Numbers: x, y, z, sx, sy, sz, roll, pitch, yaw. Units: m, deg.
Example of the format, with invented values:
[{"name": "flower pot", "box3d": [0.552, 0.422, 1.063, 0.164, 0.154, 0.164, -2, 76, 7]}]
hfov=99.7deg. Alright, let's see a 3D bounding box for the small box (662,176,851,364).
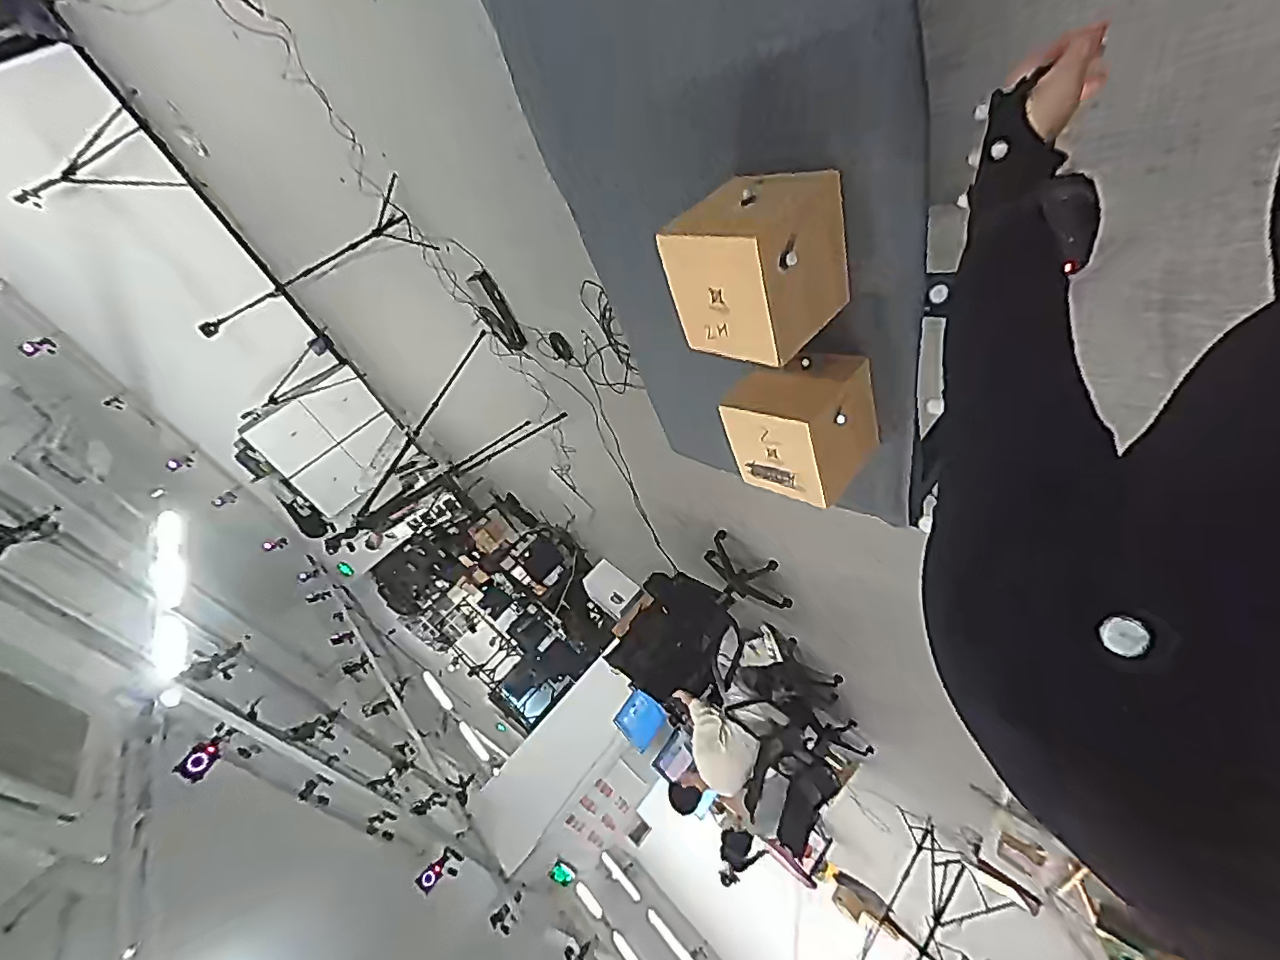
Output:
[{"name": "small box", "box3d": [0.162, -0.287, 0.723, 0.168, 0.176, 0.179, 27, 153, 42]}]
